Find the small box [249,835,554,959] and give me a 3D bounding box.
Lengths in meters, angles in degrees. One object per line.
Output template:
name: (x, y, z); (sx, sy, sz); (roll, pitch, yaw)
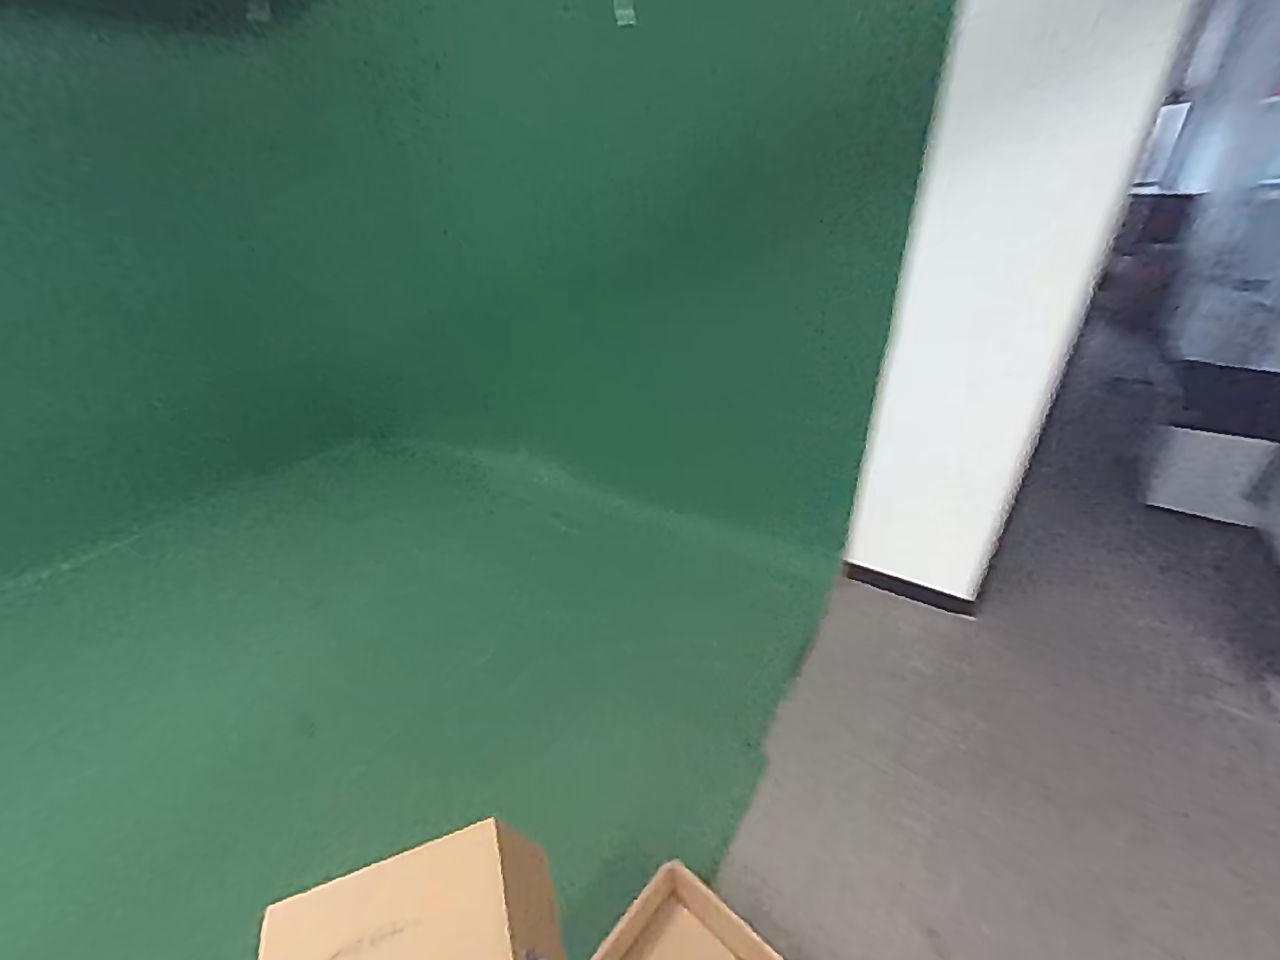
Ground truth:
small box: (-0.153, 0.392, 0.388); (0.168, 0.176, 0.179); (-18, 49, -9)
